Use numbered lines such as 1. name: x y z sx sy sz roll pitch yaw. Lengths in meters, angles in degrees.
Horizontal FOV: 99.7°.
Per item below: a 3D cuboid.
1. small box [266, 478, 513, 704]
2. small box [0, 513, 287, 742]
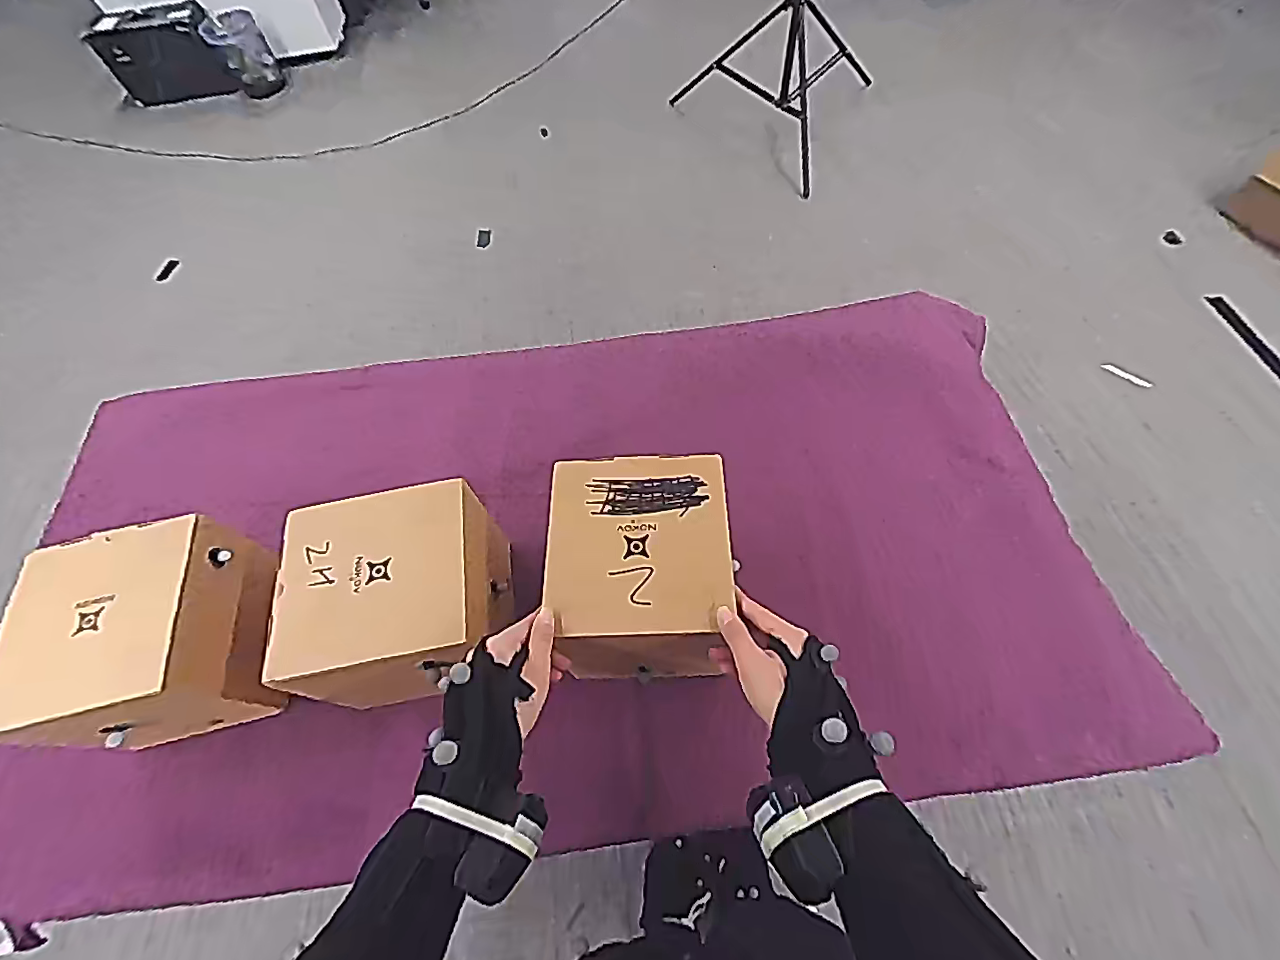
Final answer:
1. small box: -0.236 0.122 0.561 0.179 0.176 0.168 -11 59 -2
2. small box: -0.490 0.162 0.563 0.168 0.176 0.179 -14 60 -3
